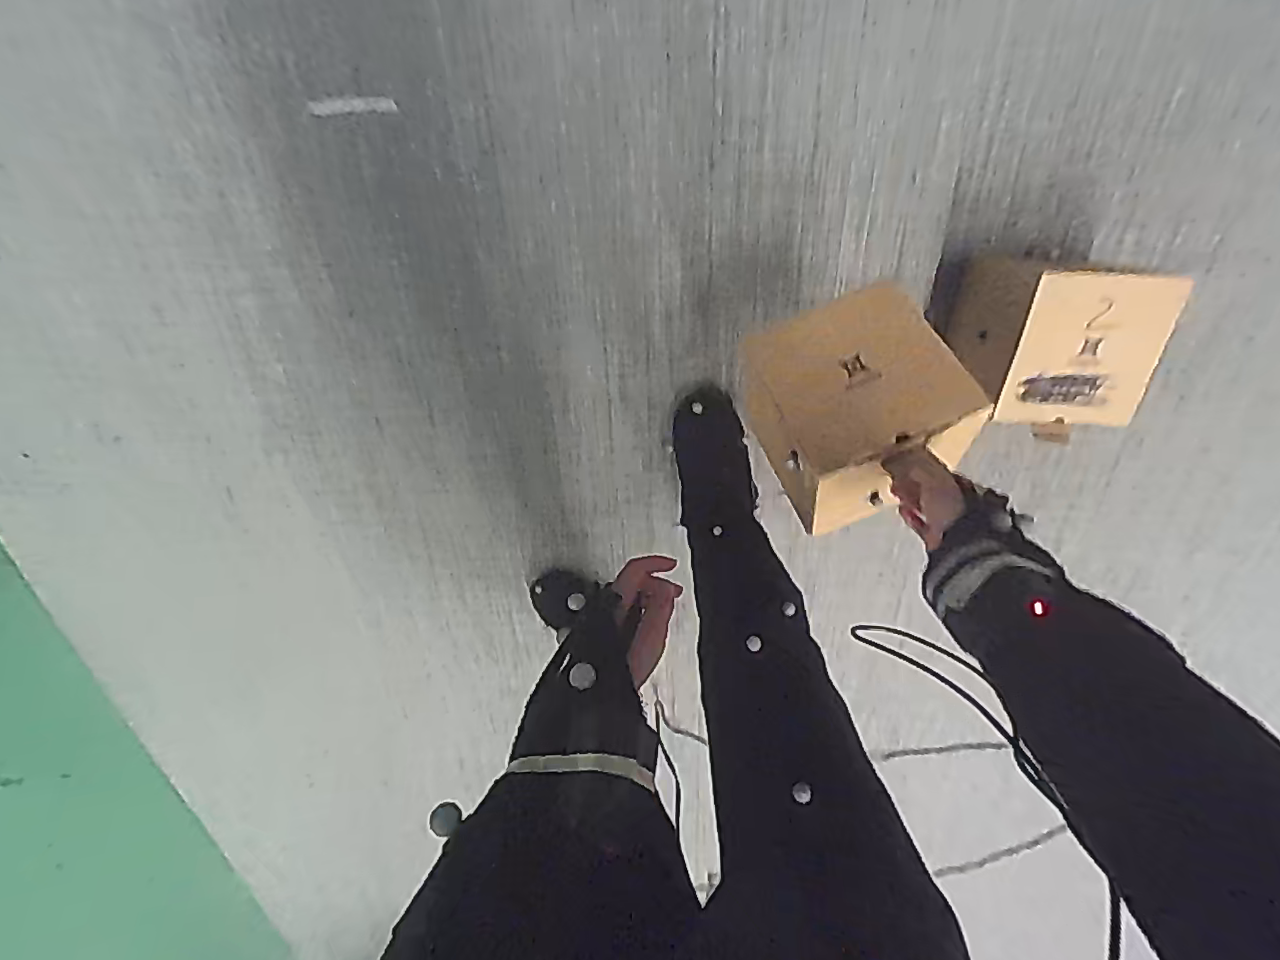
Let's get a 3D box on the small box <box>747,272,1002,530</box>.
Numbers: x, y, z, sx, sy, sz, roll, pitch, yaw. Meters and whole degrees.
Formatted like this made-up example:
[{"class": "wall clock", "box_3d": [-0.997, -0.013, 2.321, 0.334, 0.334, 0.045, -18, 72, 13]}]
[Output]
[{"class": "small box", "box_3d": [0.223, -0.073, 0.570, 0.168, 0.179, 0.176, -23, 153, 4]}]
